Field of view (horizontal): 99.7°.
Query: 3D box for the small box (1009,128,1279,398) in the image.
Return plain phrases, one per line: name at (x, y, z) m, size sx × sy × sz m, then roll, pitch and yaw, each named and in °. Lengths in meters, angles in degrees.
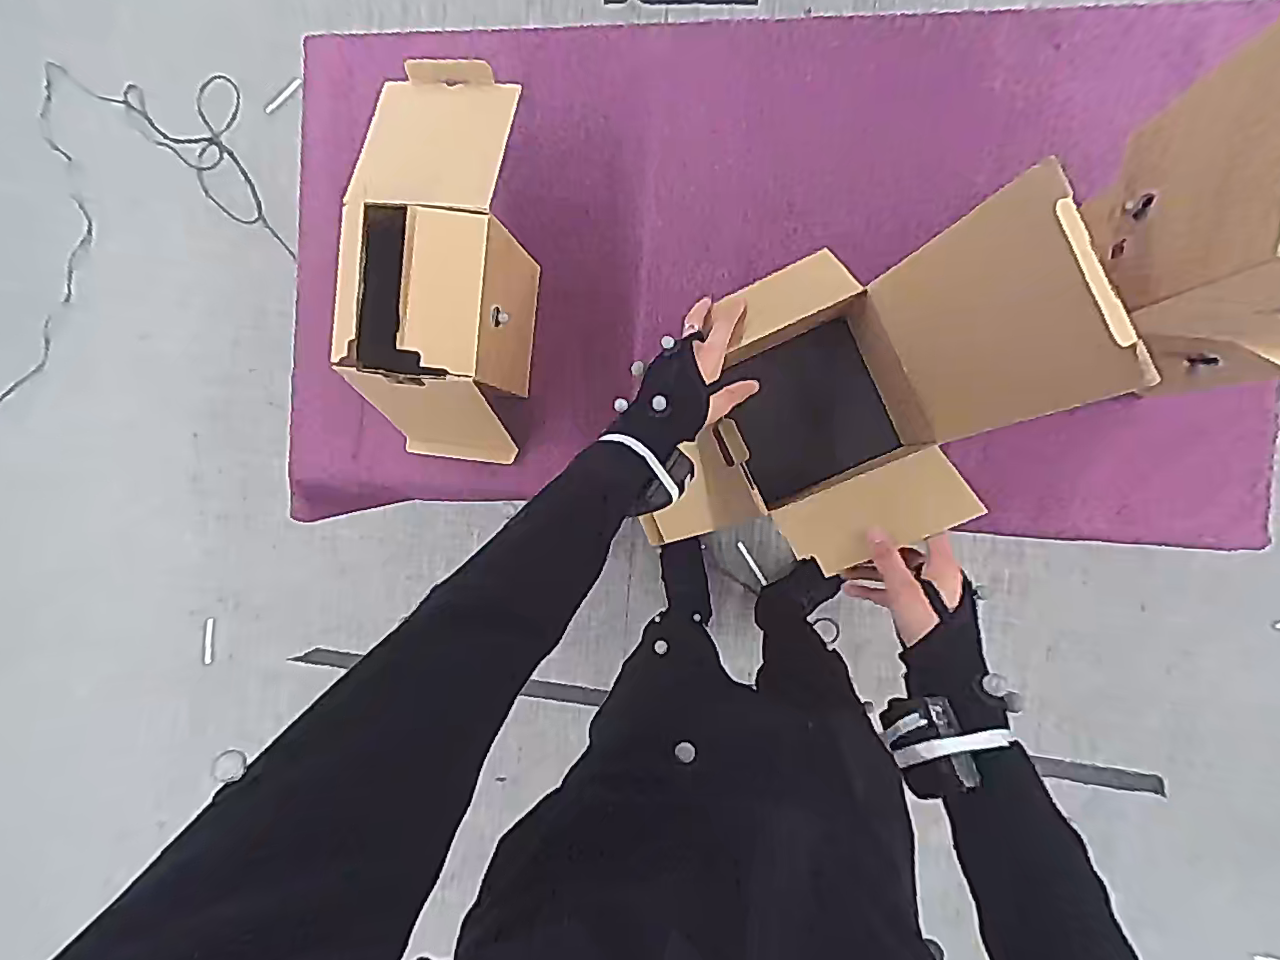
small box at (0.533, -0.195, 0.544) m, size 0.179 × 0.176 × 0.168 m, roll 31°, pitch 95°, yaw 6°
